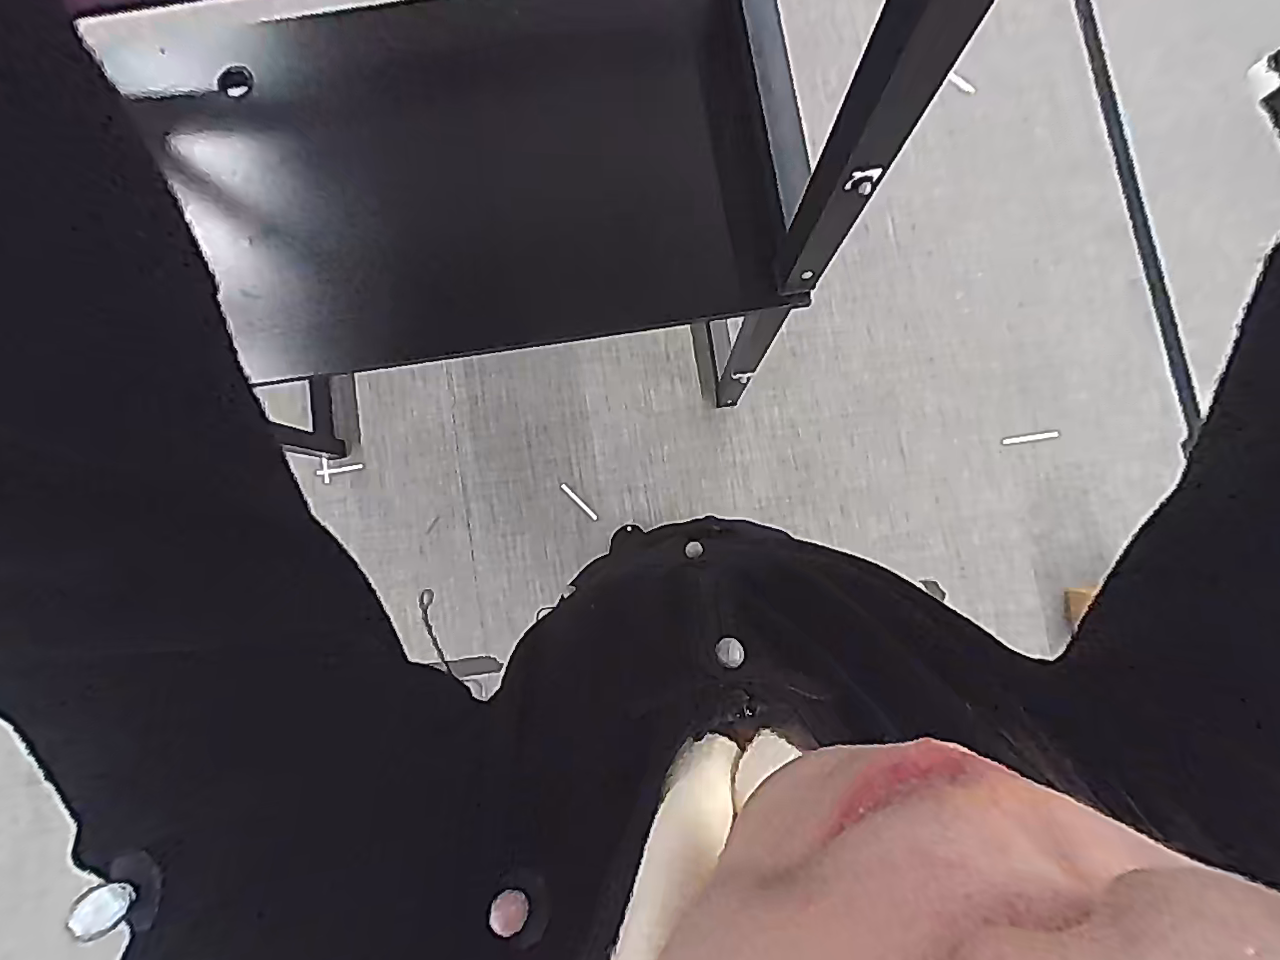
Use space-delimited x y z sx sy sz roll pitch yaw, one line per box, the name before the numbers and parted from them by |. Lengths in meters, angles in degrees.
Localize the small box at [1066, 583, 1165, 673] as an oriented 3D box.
small box | 1.231 0.367 1.368 0.168 0.176 0.179 -9 86 1
